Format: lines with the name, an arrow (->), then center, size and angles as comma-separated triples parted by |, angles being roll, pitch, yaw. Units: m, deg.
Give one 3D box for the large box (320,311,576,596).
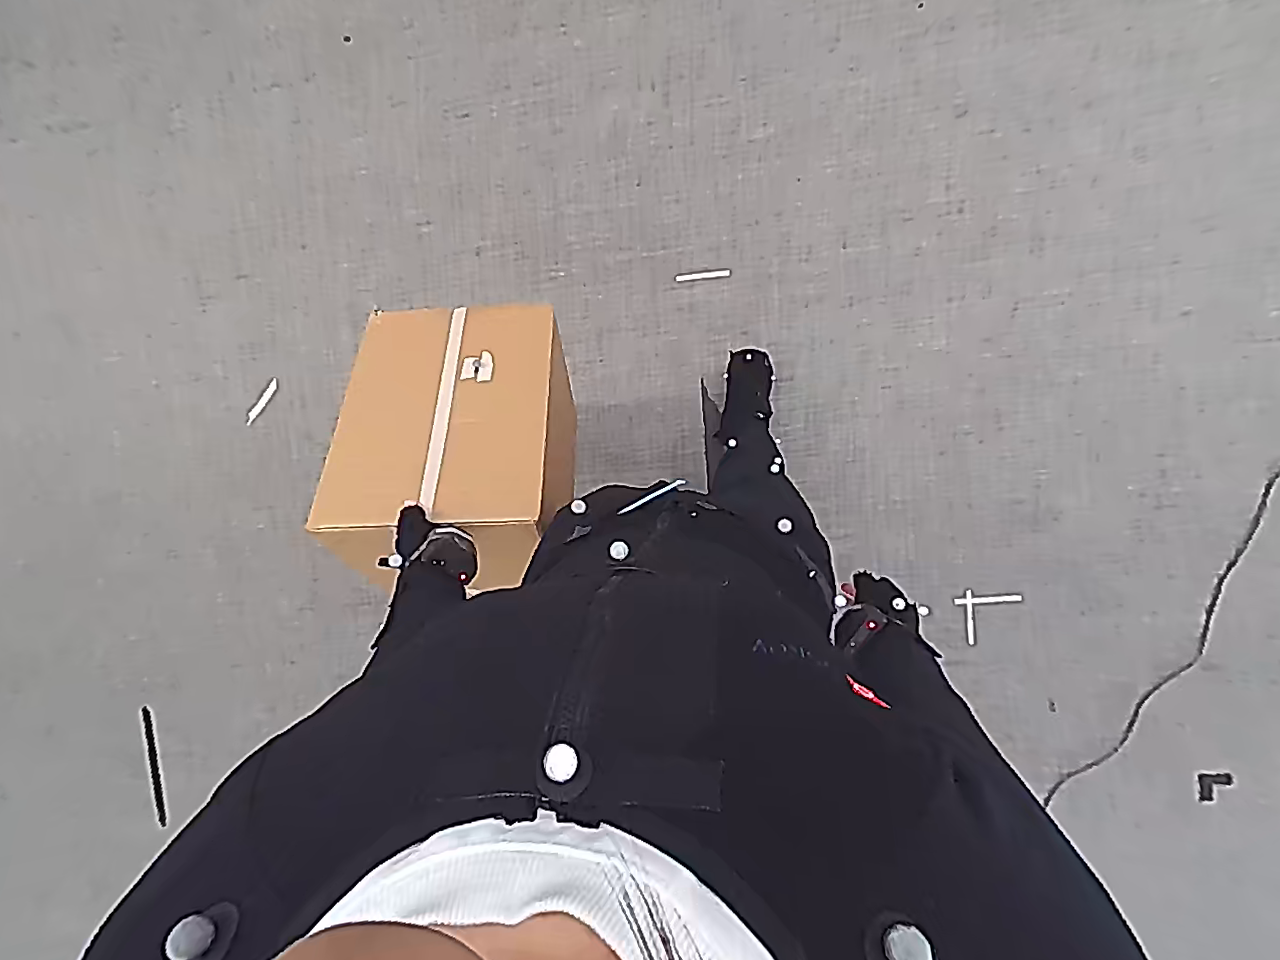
large box -> -0.289, -0.038, 0.962 | 0.320, 0.320, 0.408 | -2, 60, 0
